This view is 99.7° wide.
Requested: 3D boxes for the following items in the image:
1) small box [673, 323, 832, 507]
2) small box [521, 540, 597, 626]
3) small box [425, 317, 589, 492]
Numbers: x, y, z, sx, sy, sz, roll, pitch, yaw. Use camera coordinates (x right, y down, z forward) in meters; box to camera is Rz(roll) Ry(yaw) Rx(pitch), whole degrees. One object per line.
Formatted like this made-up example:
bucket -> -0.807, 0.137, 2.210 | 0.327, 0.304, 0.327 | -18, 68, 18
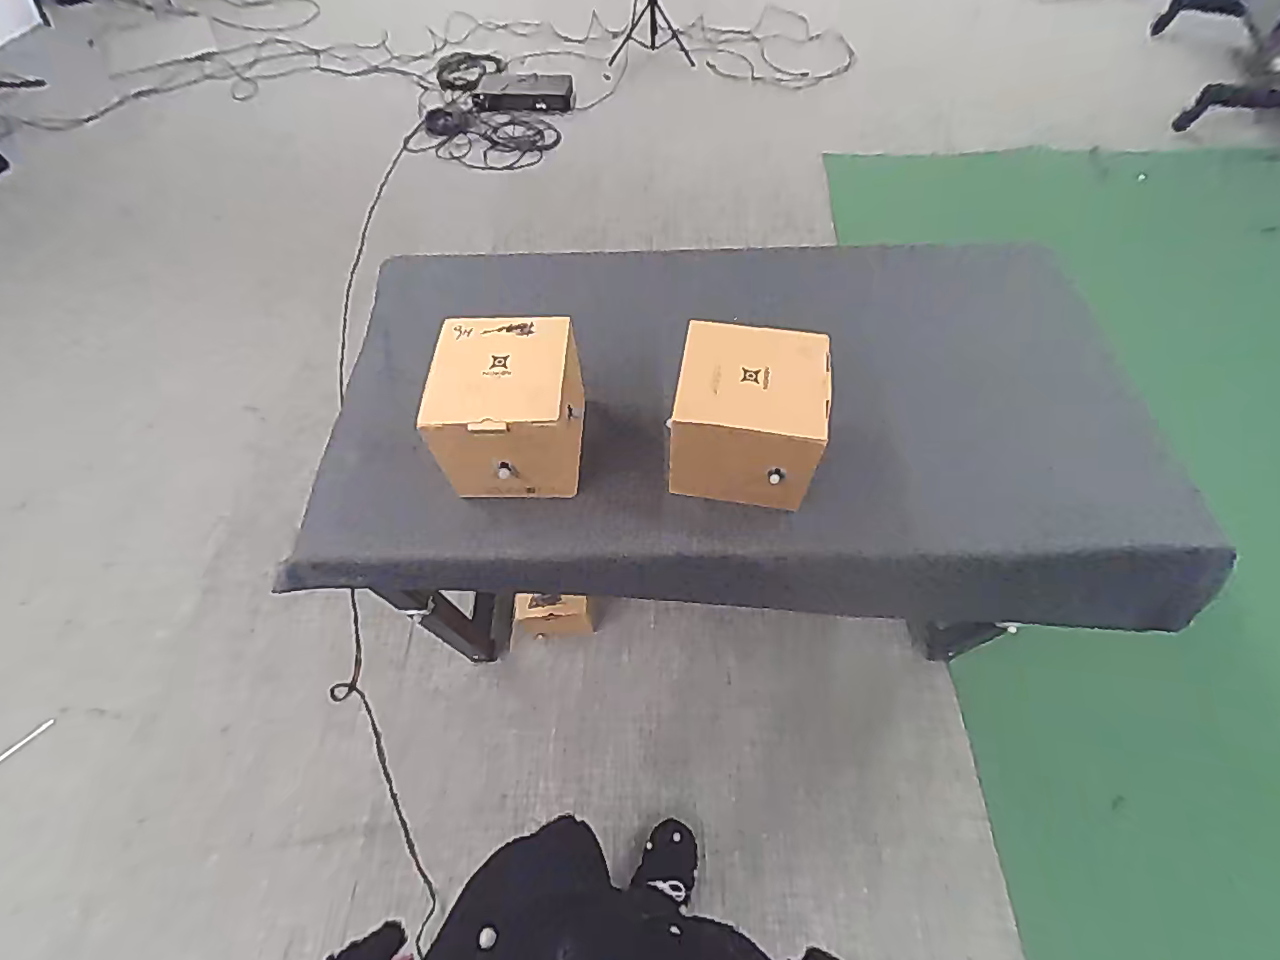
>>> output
small box -> 0.142, -0.079, 0.712 | 0.179, 0.176, 0.168 | 8, 60, 7
small box -> -0.198, 0.266, 1.365 | 0.168, 0.176, 0.179 | -3, 60, -1
small box -> -0.163, -0.095, 0.728 | 0.168, 0.176, 0.179 | 0, 60, 2
